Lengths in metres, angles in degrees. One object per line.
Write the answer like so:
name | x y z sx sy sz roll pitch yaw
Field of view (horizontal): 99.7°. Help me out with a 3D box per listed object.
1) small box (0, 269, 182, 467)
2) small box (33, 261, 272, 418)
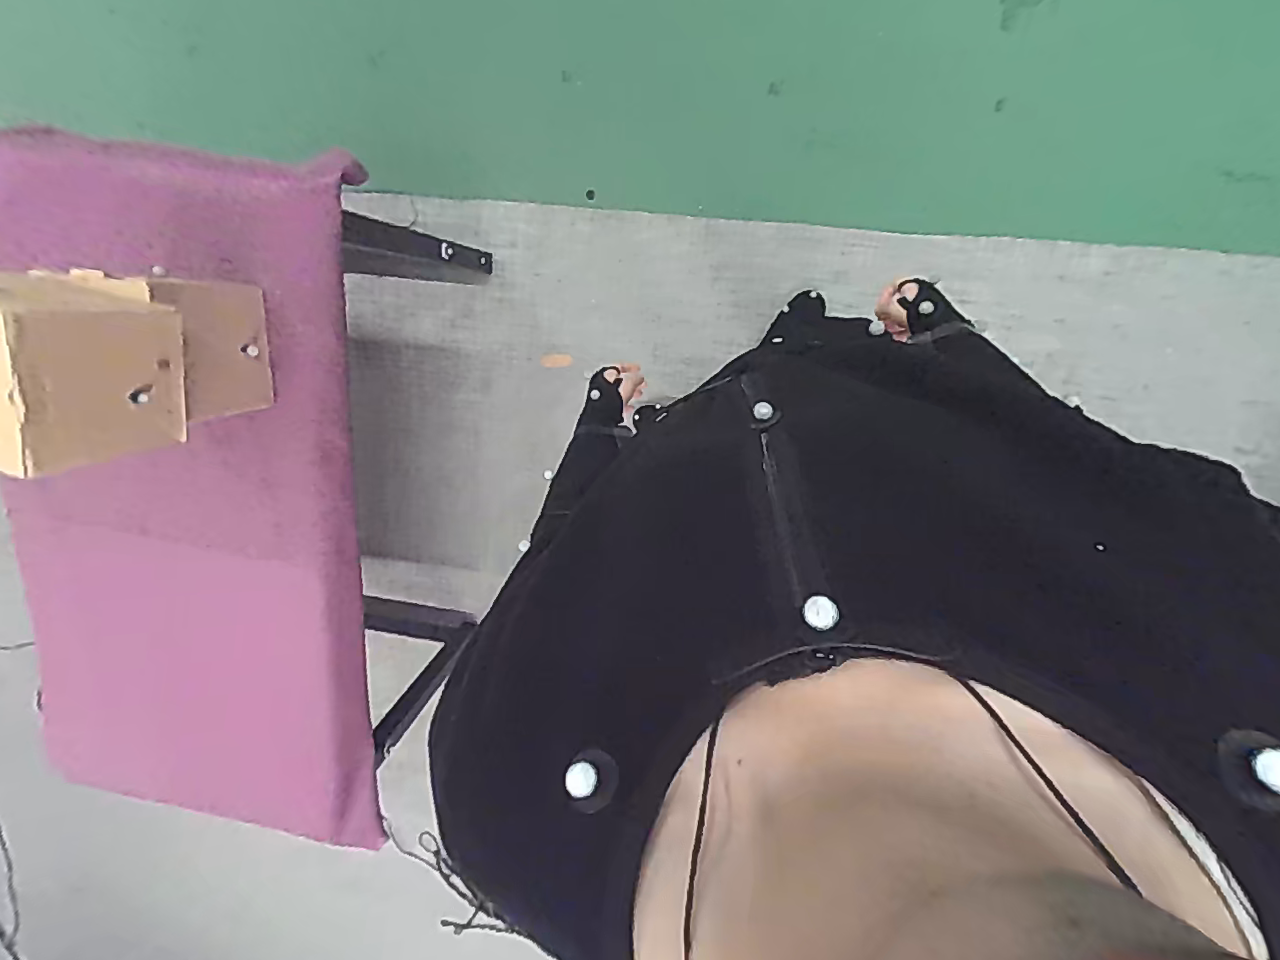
small box | -0.652 -0.130 0.585 0.179 0.176 0.168 15 108 4
small box | -0.645 -0.190 0.738 0.168 0.176 0.179 8 107 8
